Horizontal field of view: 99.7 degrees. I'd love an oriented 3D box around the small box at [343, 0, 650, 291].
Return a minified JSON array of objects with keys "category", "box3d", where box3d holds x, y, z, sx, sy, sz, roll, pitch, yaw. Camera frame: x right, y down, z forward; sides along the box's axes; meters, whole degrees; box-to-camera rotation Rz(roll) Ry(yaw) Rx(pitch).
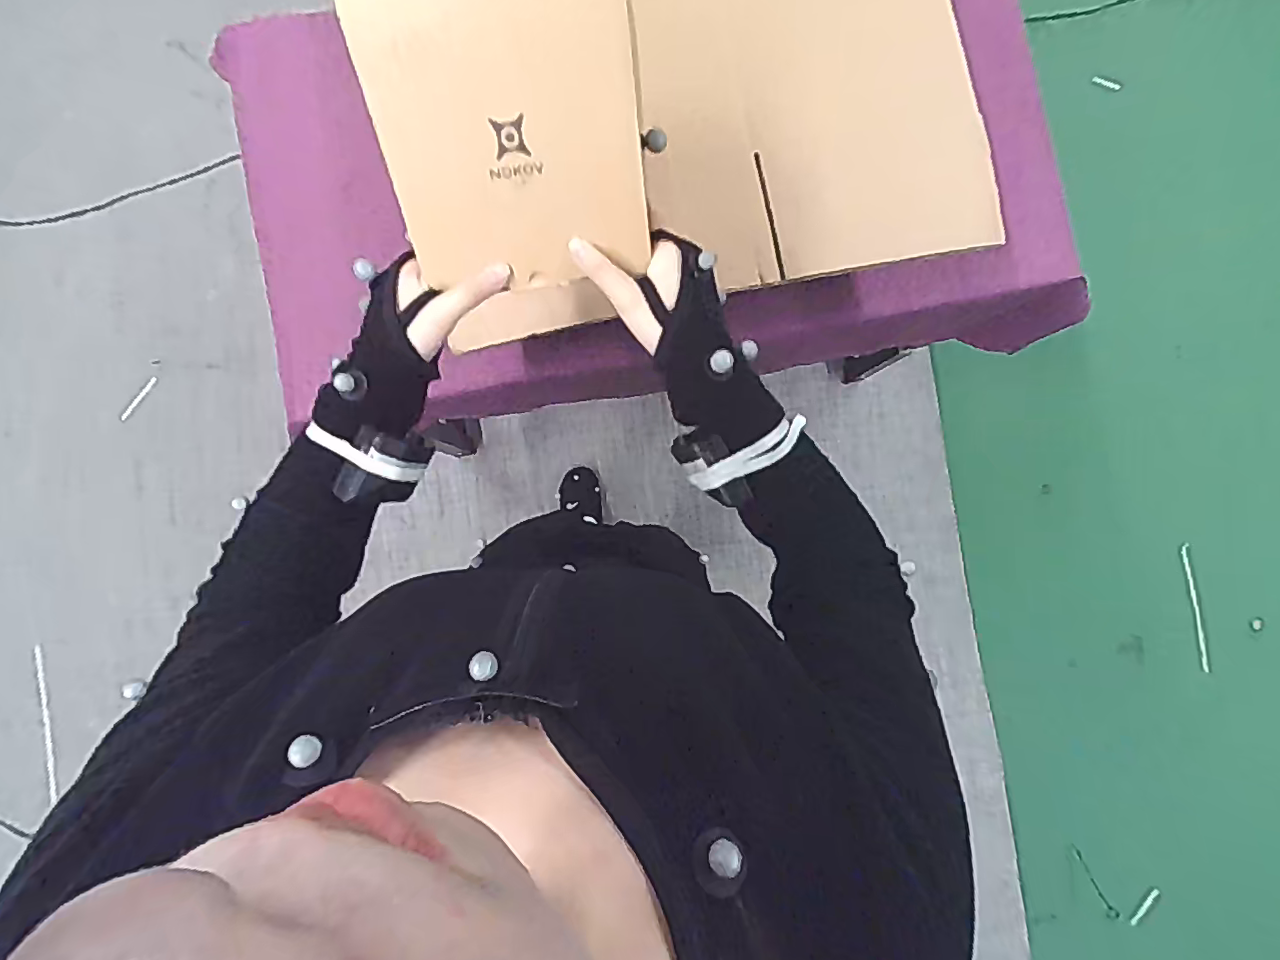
[{"category":"small box","box3d":[-0.083,-0.263,0.417,0.168,0.176,0.179,-5,124,4]}]
